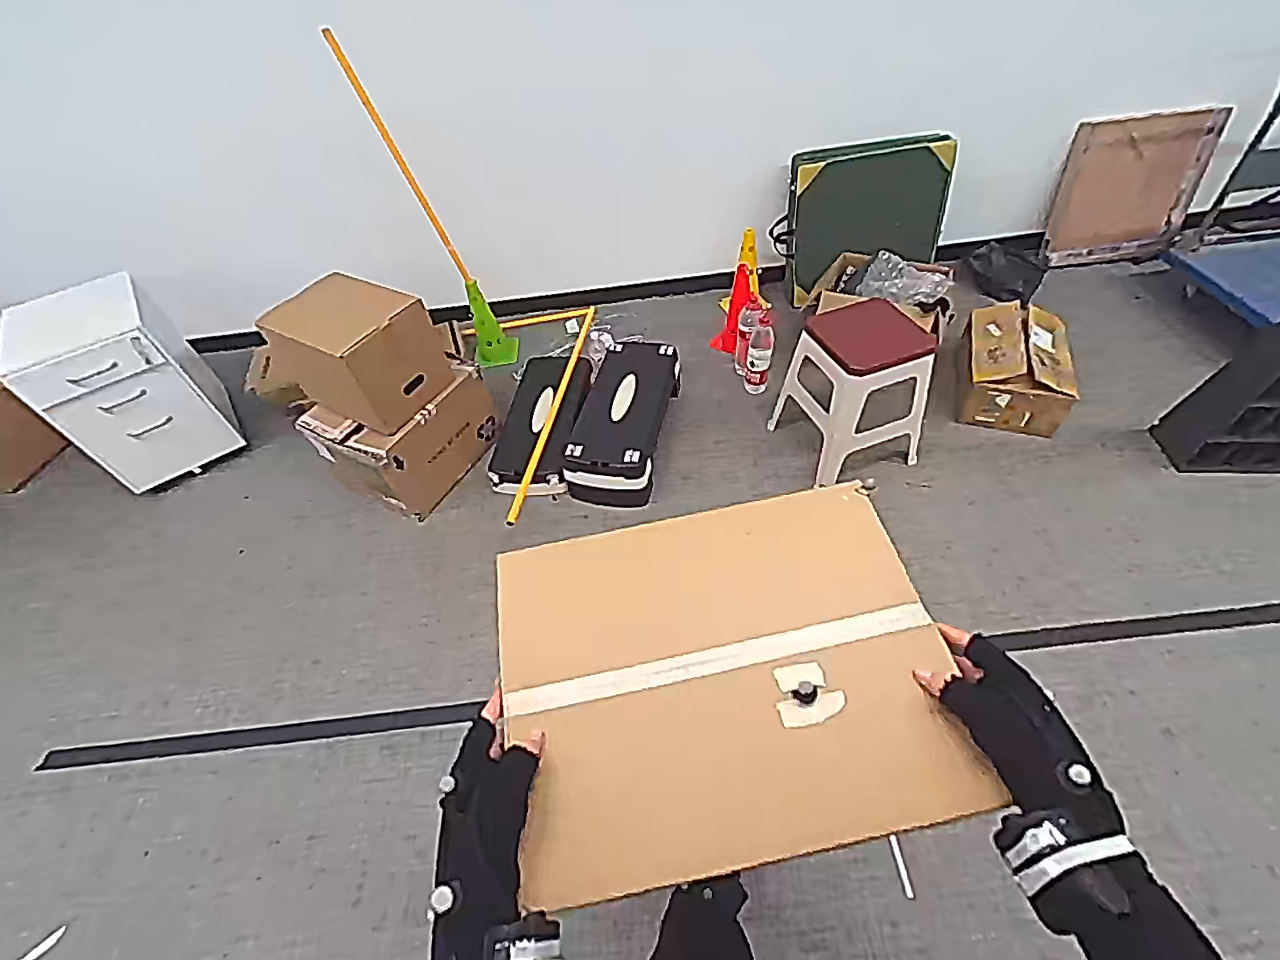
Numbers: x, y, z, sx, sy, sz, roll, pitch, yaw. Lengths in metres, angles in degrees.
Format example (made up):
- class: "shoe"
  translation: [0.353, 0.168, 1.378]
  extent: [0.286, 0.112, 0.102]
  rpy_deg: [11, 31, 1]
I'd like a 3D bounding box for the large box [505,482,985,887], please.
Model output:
- class: "large box"
  translation: [0.082, 0.248, 0.650]
  extent: [0.408, 0.320, 0.320]
  rpy_deg: [-12, 57, -2]
